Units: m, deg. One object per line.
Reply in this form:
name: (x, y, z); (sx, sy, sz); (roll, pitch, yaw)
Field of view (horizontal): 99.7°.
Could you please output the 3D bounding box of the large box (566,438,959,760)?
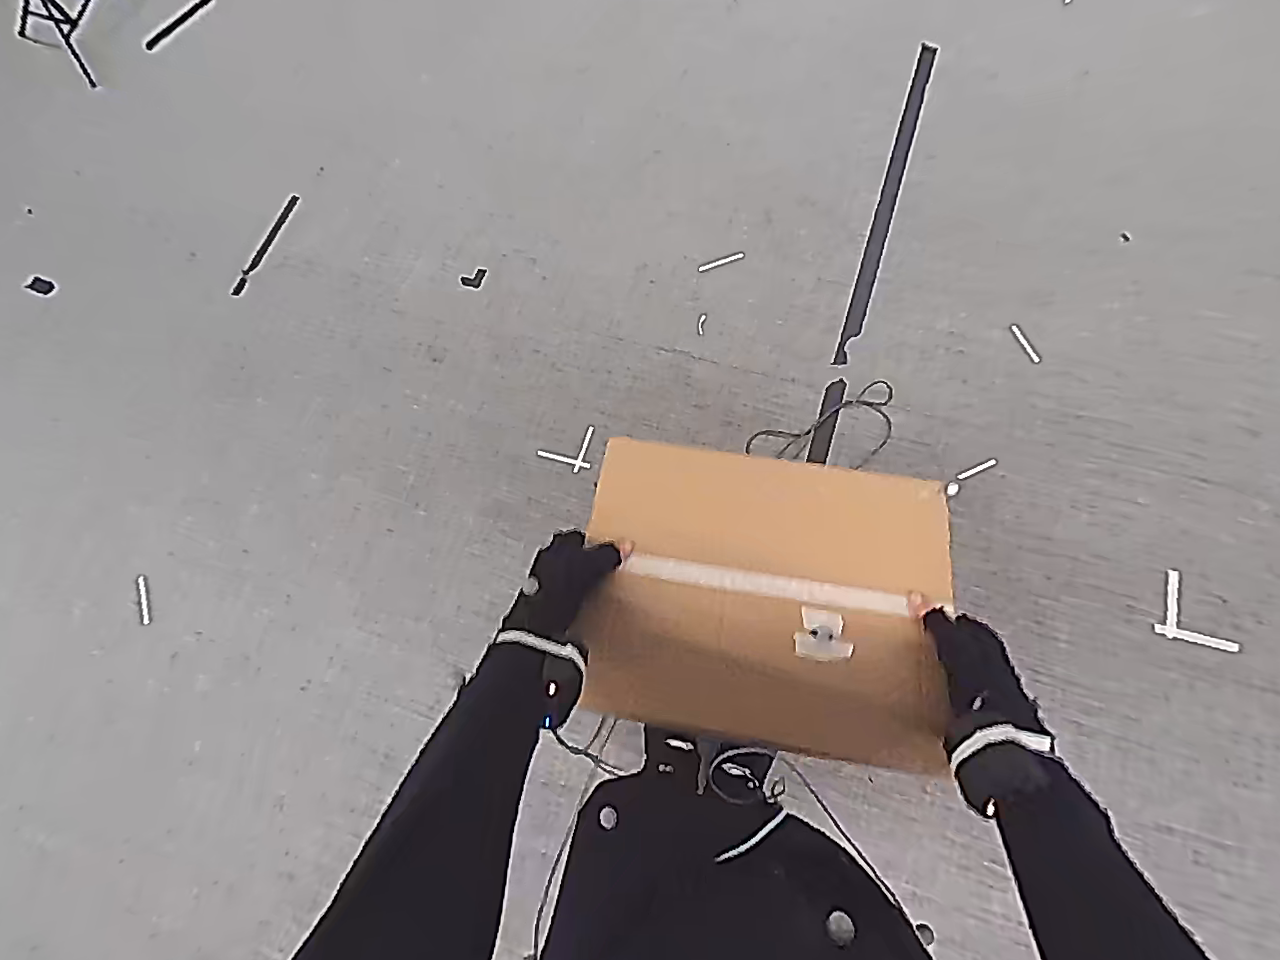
large box: (0.145, 0.171, 0.739); (0.408, 0.320, 0.320); (9, 67, 7)
